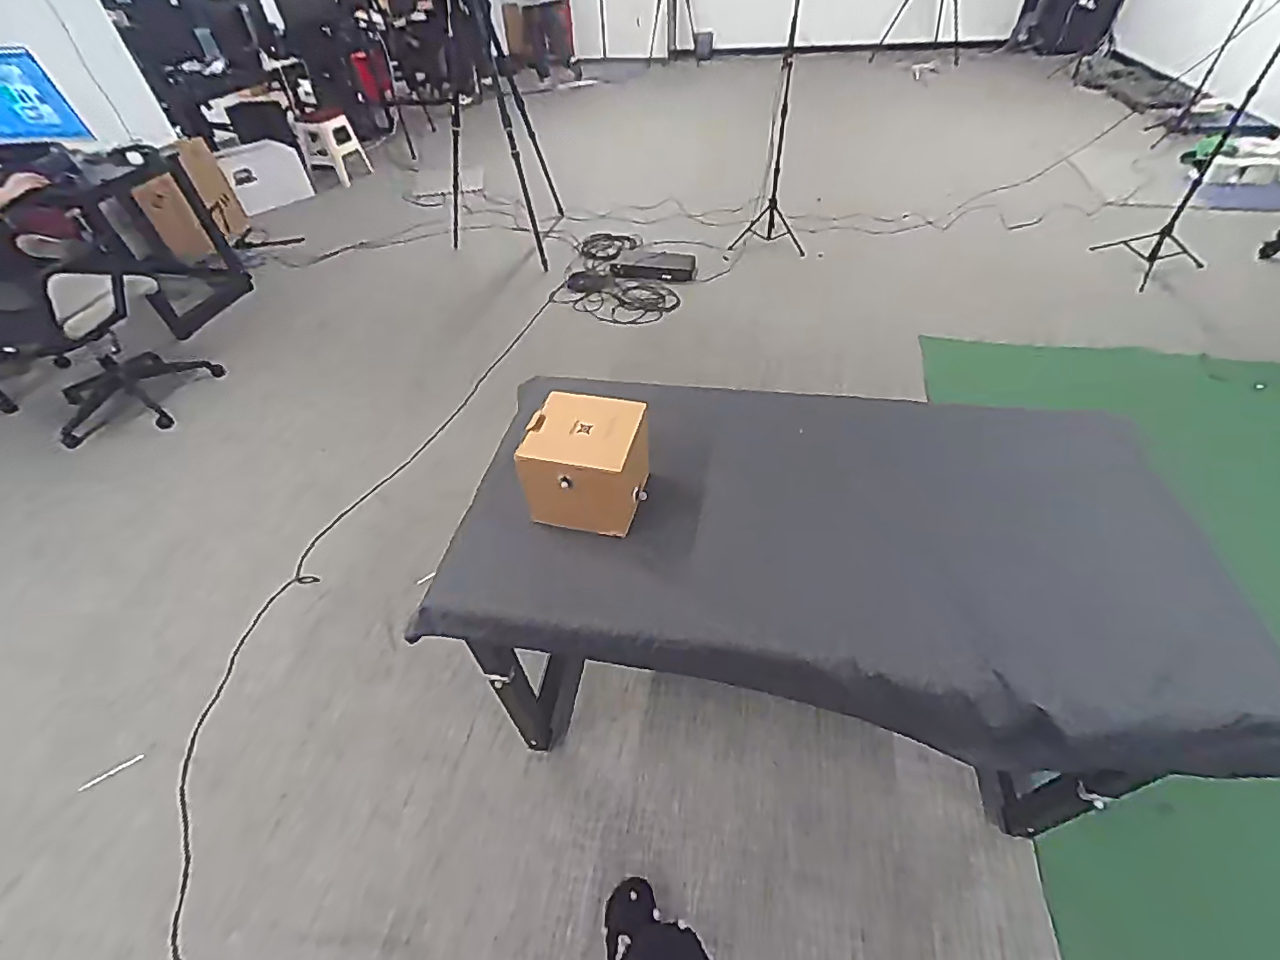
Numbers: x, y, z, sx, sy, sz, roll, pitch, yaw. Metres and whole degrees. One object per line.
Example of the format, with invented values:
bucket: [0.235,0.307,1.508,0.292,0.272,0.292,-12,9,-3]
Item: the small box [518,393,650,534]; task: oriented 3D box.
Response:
small box: [-0.085,-0.026,0.934,0.179,0.176,0.168,10,49,11]
